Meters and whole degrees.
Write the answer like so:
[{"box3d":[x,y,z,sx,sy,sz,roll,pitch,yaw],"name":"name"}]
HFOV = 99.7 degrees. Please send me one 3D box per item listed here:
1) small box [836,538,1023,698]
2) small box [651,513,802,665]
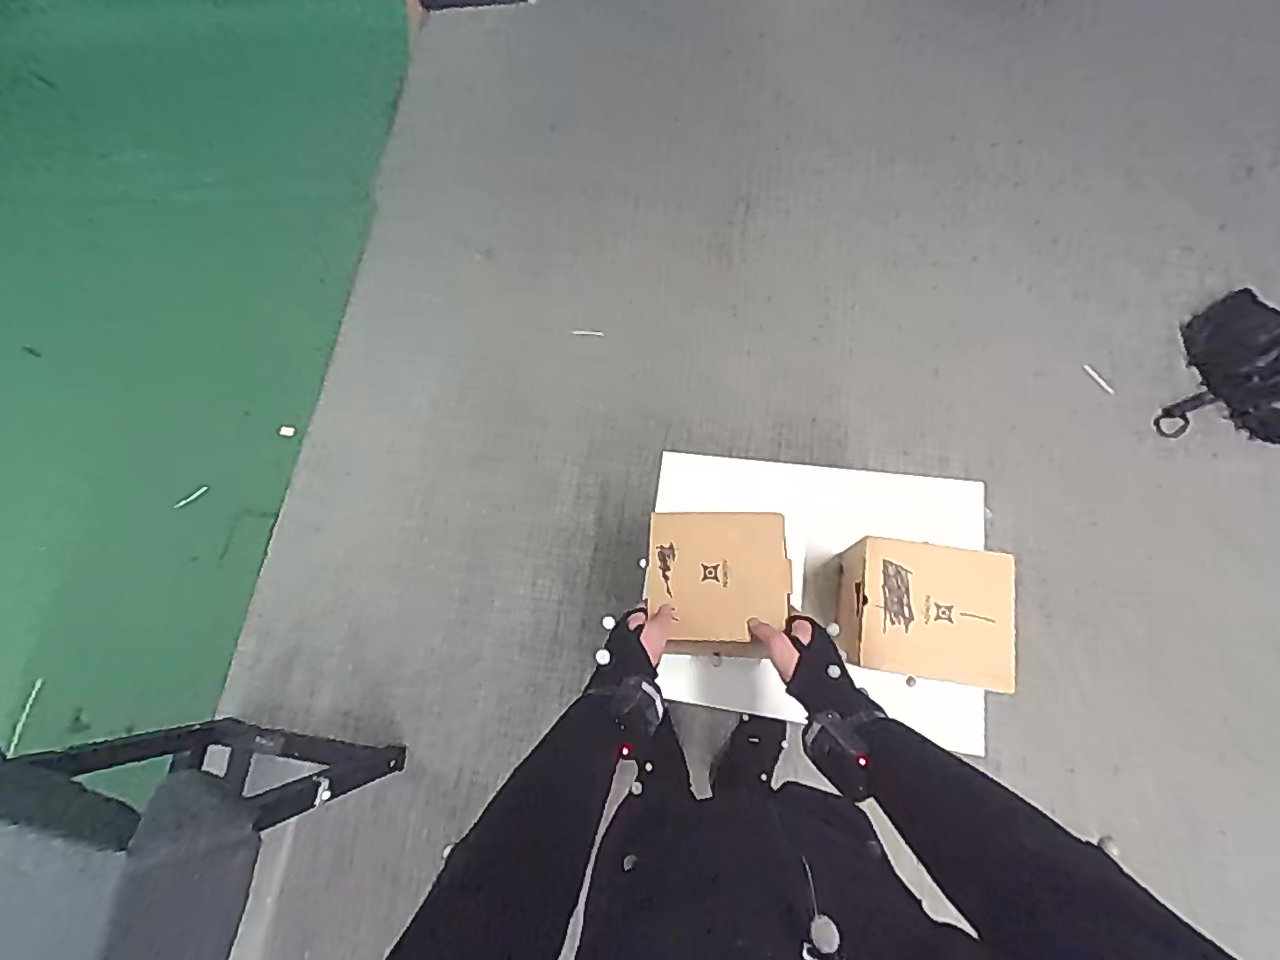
[{"box3d":[0.373,0.184,0.725,0.179,0.176,0.168,8,75,8],"name":"small box"},{"box3d":[0.107,0.152,0.729,0.179,0.176,0.168,1,64,4],"name":"small box"}]
